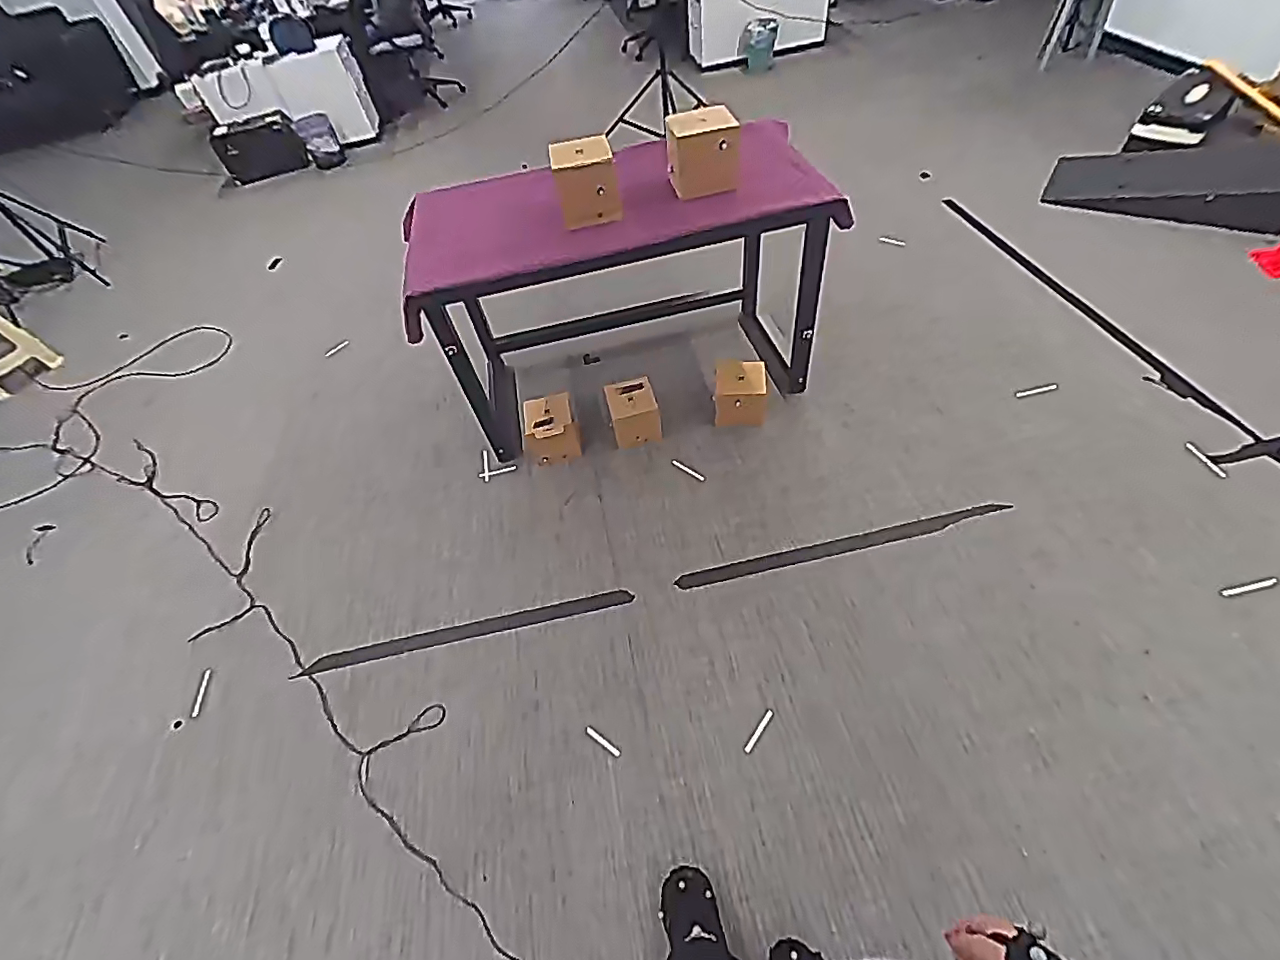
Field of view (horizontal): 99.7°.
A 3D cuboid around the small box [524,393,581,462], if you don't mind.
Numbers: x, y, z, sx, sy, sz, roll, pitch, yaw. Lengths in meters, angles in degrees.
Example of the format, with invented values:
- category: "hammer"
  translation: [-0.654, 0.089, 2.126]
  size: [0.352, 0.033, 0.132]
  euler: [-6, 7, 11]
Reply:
- category: "small box"
  translation: [-0.319, -0.184, 1.973]
  size: [0.168, 0.176, 0.179]
  euler: [-12, 51, -1]

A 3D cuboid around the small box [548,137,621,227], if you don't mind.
- category: "small box"
  translation: [-0.154, -0.830, 1.520]
  size: [0.168, 0.176, 0.179]
  euler: [-12, 50, -2]

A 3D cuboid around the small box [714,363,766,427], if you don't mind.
- category: "small box"
  translation: [0.361, -0.308, 1.968]
  size: [0.179, 0.176, 0.168]
  euler: [-1, 53, 9]

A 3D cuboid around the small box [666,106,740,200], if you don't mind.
- category: "small box"
  translation: [0.179, -0.932, 1.547]
  size: [0.179, 0.176, 0.168]
  euler: [-12, 51, 0]
